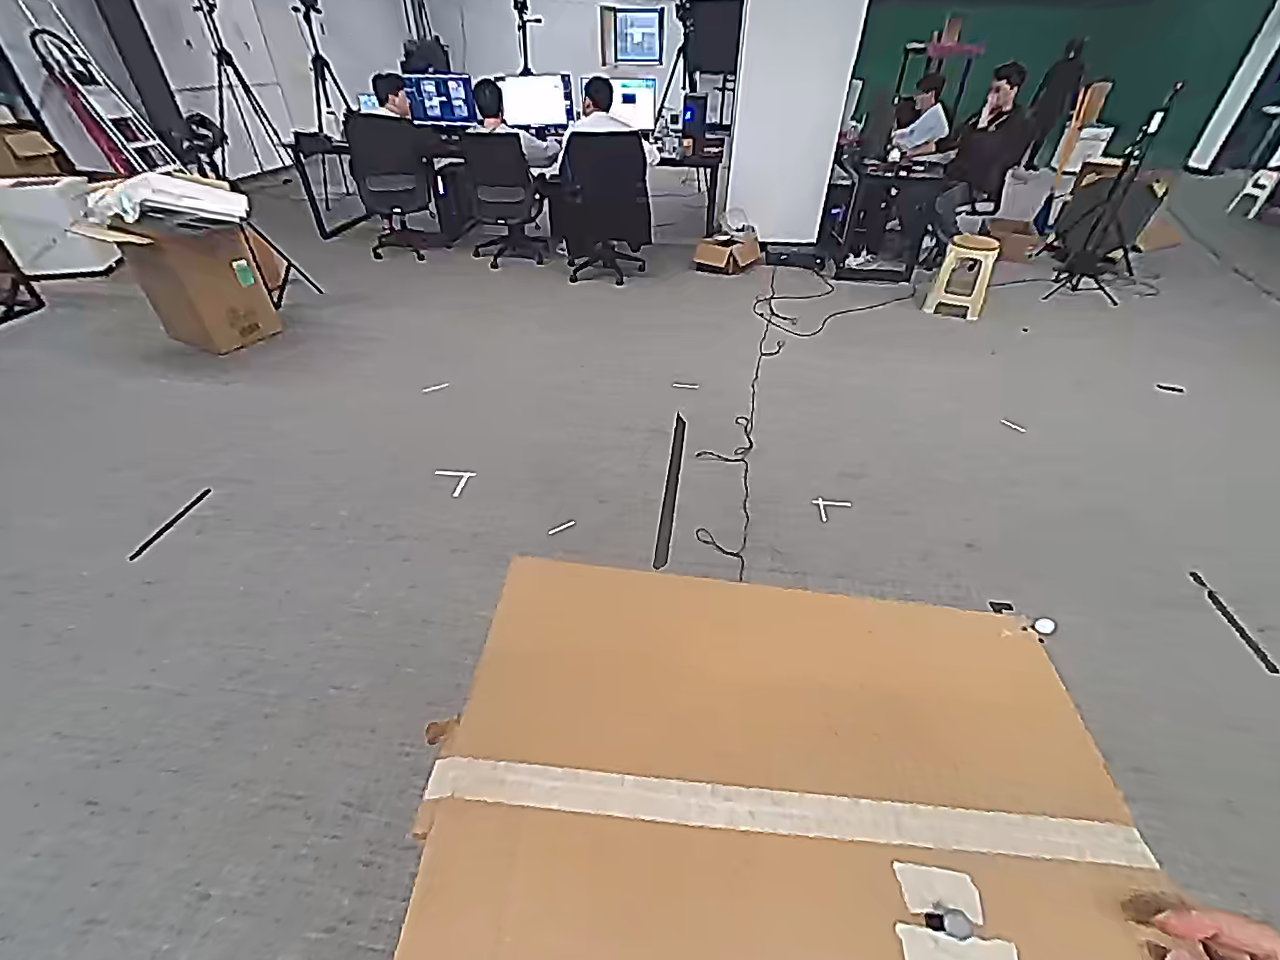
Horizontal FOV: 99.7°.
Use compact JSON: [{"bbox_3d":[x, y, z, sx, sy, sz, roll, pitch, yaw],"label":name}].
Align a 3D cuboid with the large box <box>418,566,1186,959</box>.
[{"bbox_3d":[0.076,0.301,0.419,0.408,0.320,0.320,8,45,-2],"label":"large box"}]
